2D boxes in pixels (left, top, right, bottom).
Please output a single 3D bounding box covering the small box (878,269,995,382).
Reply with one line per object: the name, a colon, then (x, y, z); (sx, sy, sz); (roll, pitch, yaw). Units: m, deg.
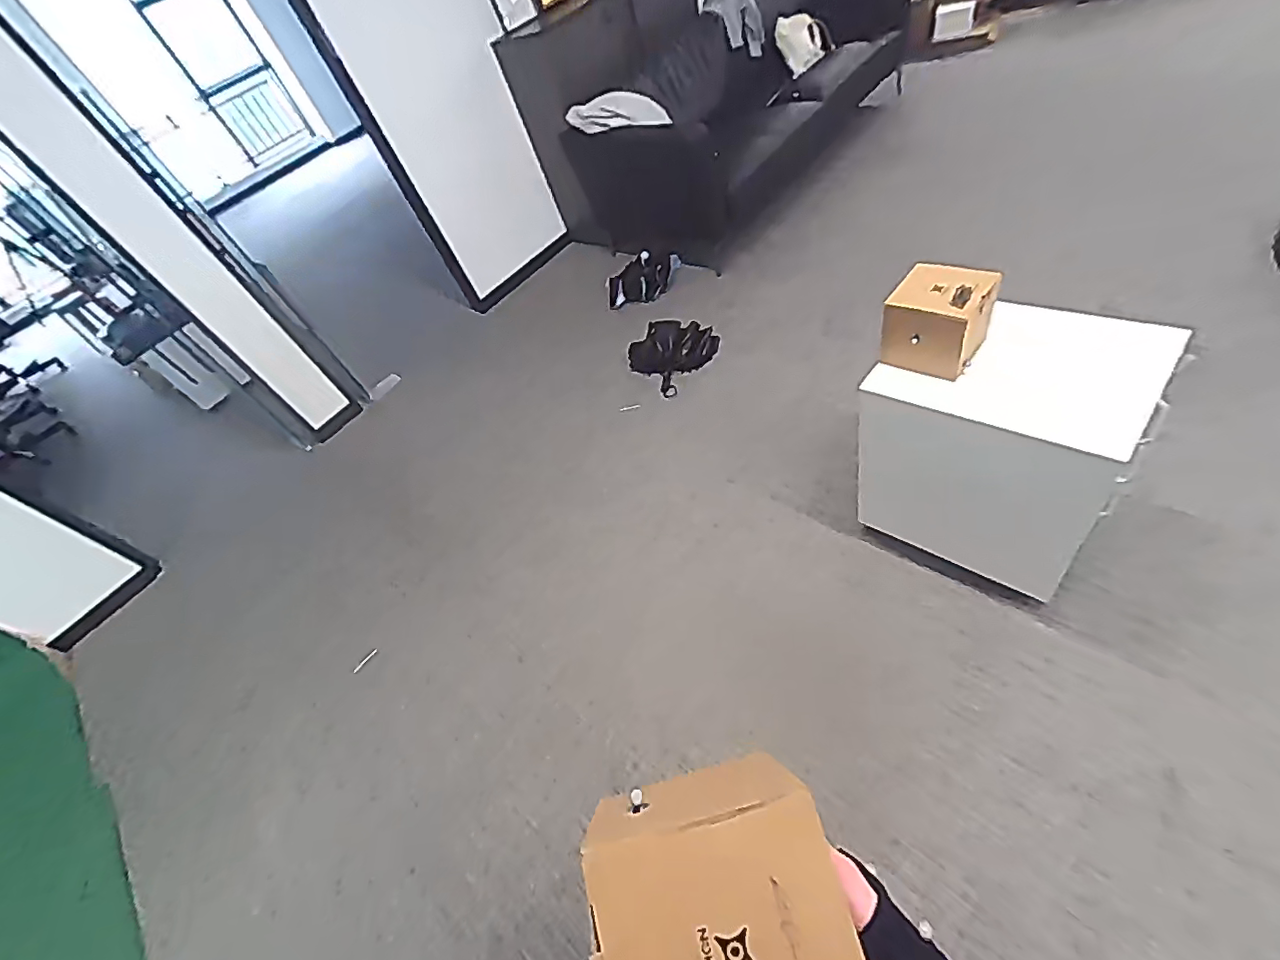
small box: (0.659, -0.345, 1.218); (0.179, 0.176, 0.168); (27, 64, 37)
